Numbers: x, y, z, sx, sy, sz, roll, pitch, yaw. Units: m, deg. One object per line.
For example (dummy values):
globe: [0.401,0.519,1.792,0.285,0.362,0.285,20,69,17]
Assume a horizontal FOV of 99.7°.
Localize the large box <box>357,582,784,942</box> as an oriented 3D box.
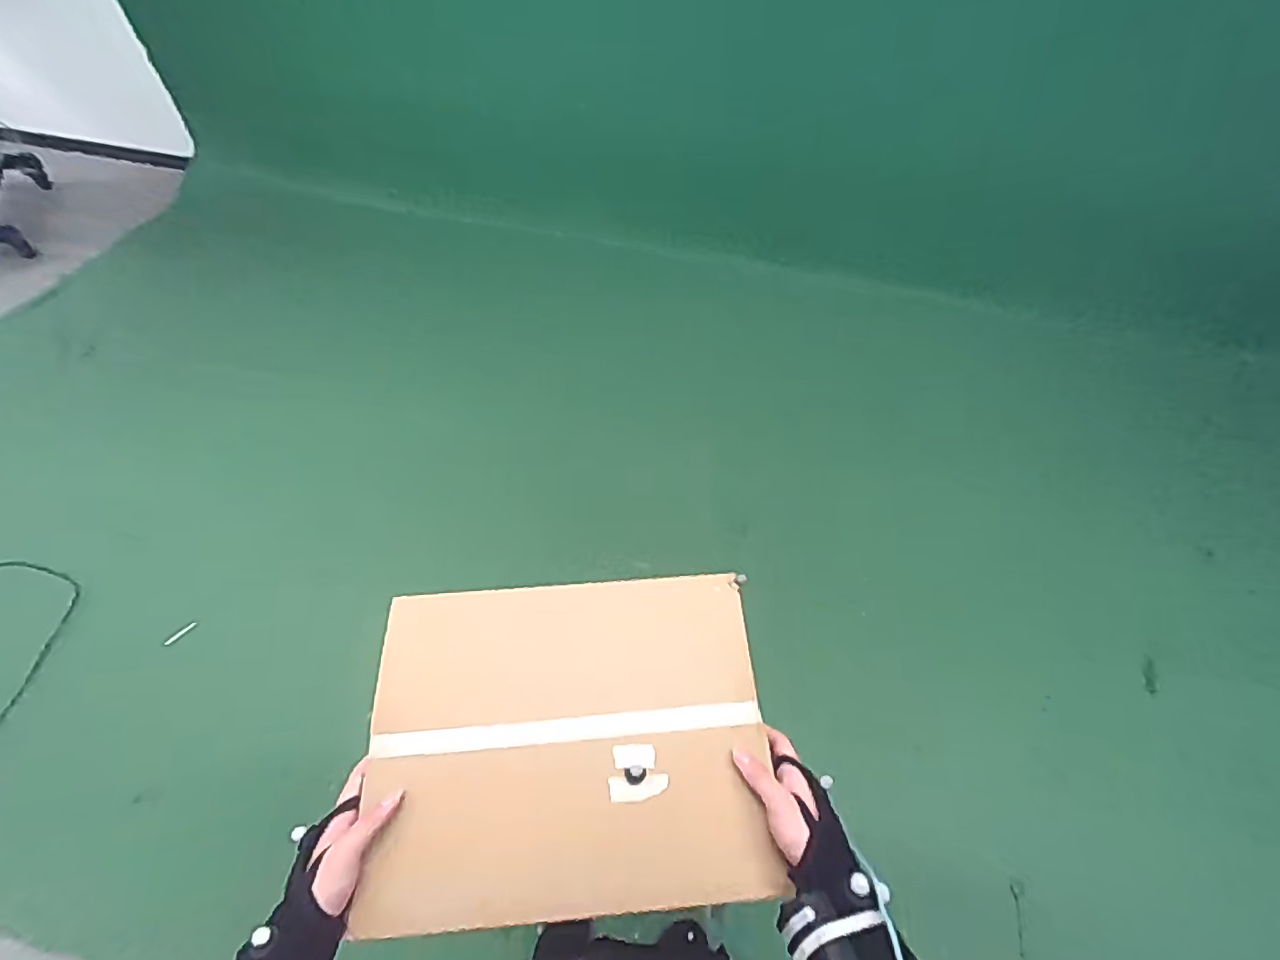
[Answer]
large box: [-0.077,0.345,0.700,0.408,0.320,0.320,-3,60,-4]
